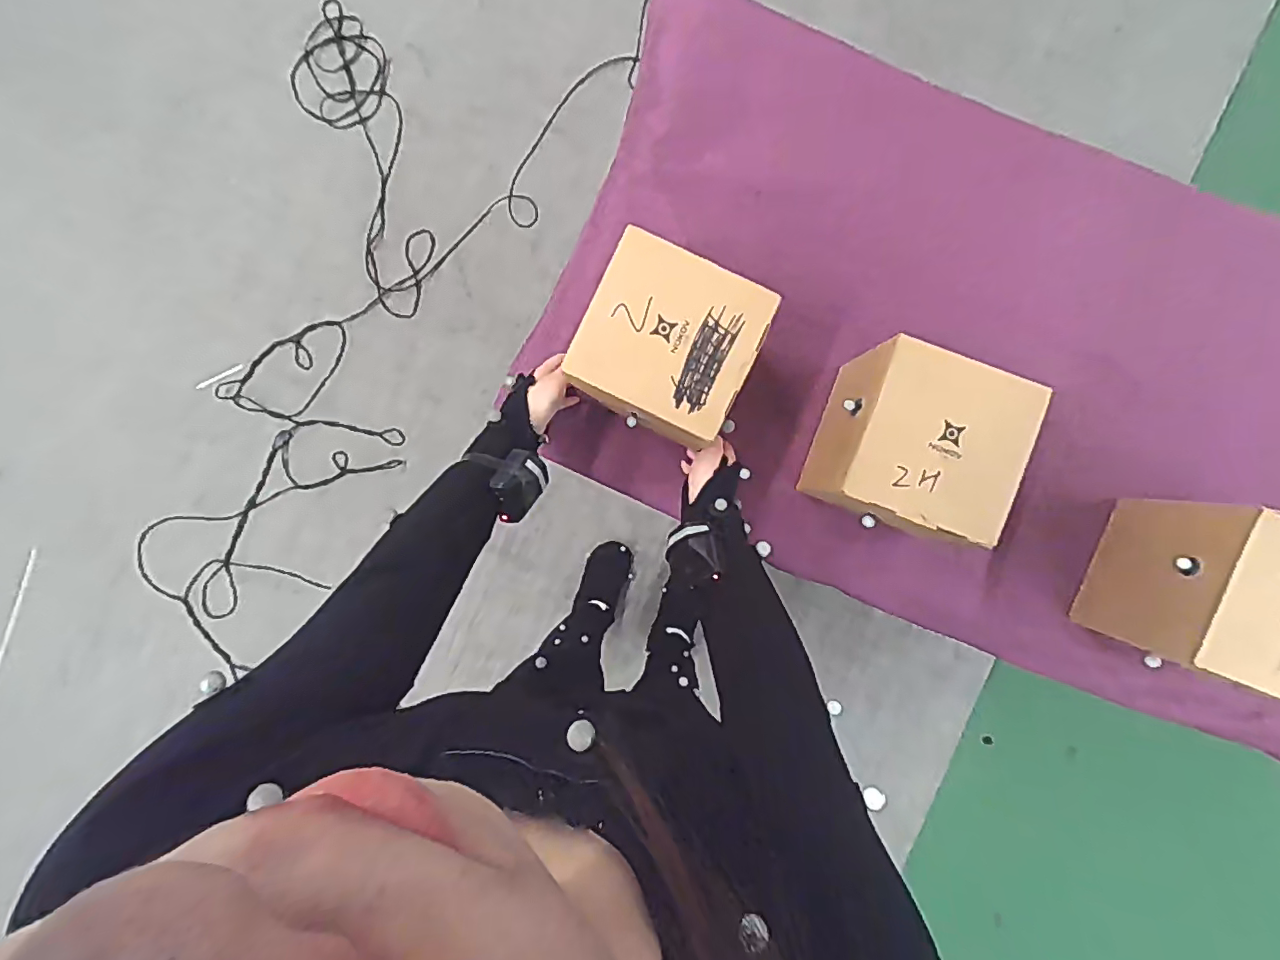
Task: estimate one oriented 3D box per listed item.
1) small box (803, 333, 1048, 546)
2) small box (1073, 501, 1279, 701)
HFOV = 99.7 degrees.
[{"bbox_3d":[0.309,-0.041,0.627,0.168,0.176,0.179,20,90,1],"label":"small box"},{"bbox_3d":[0.664,0.133,0.629,0.168,0.176,0.179,22,92,0],"label":"small box"}]
